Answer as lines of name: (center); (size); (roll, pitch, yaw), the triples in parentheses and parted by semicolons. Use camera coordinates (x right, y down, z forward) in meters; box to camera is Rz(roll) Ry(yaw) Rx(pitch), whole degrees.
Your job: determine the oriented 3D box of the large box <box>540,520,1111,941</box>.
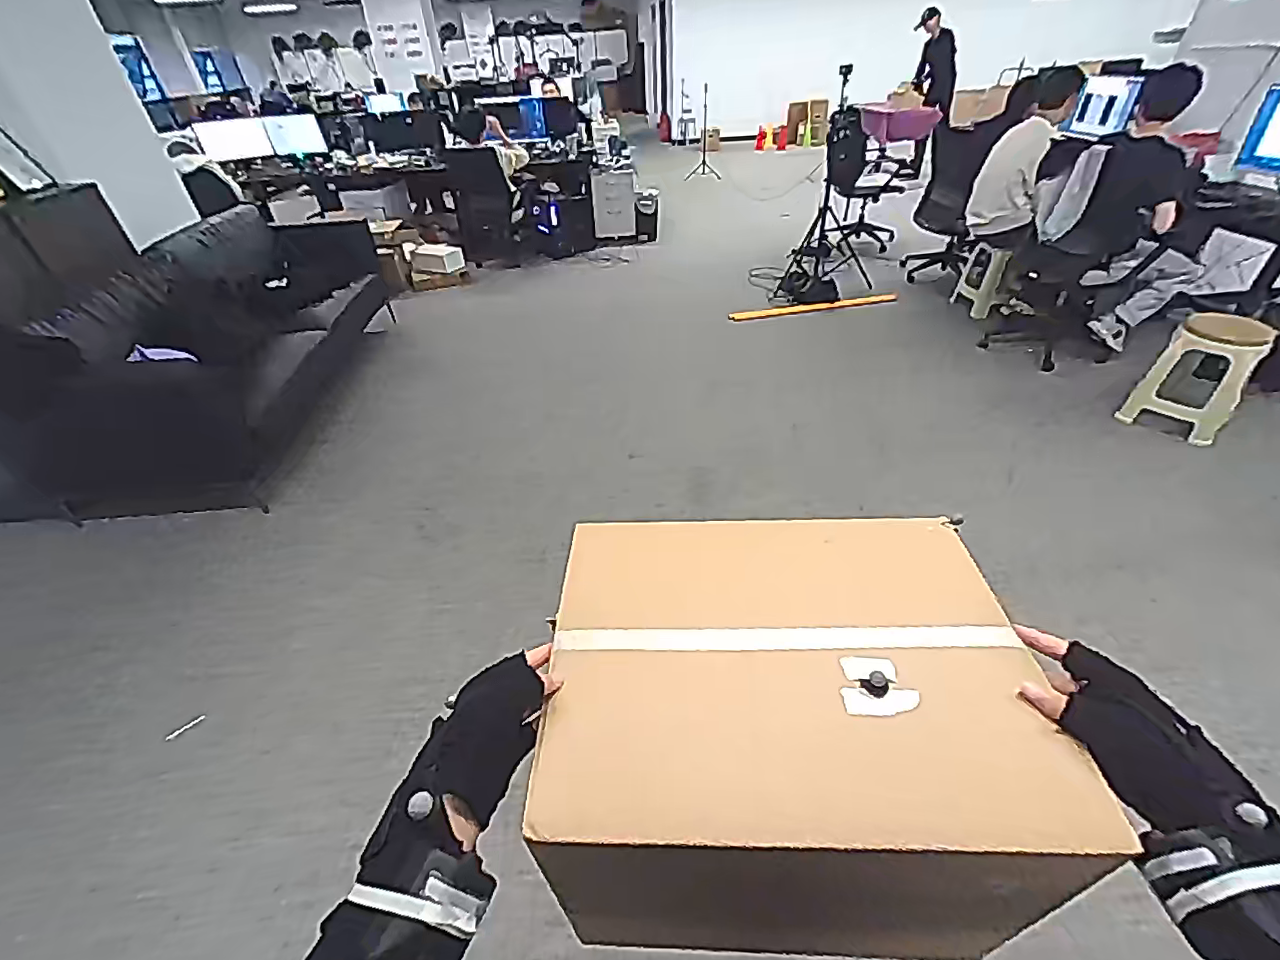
large box: (0.135, 0.263, 0.583); (0.408, 0.320, 0.320); (-2, 40, 4)
